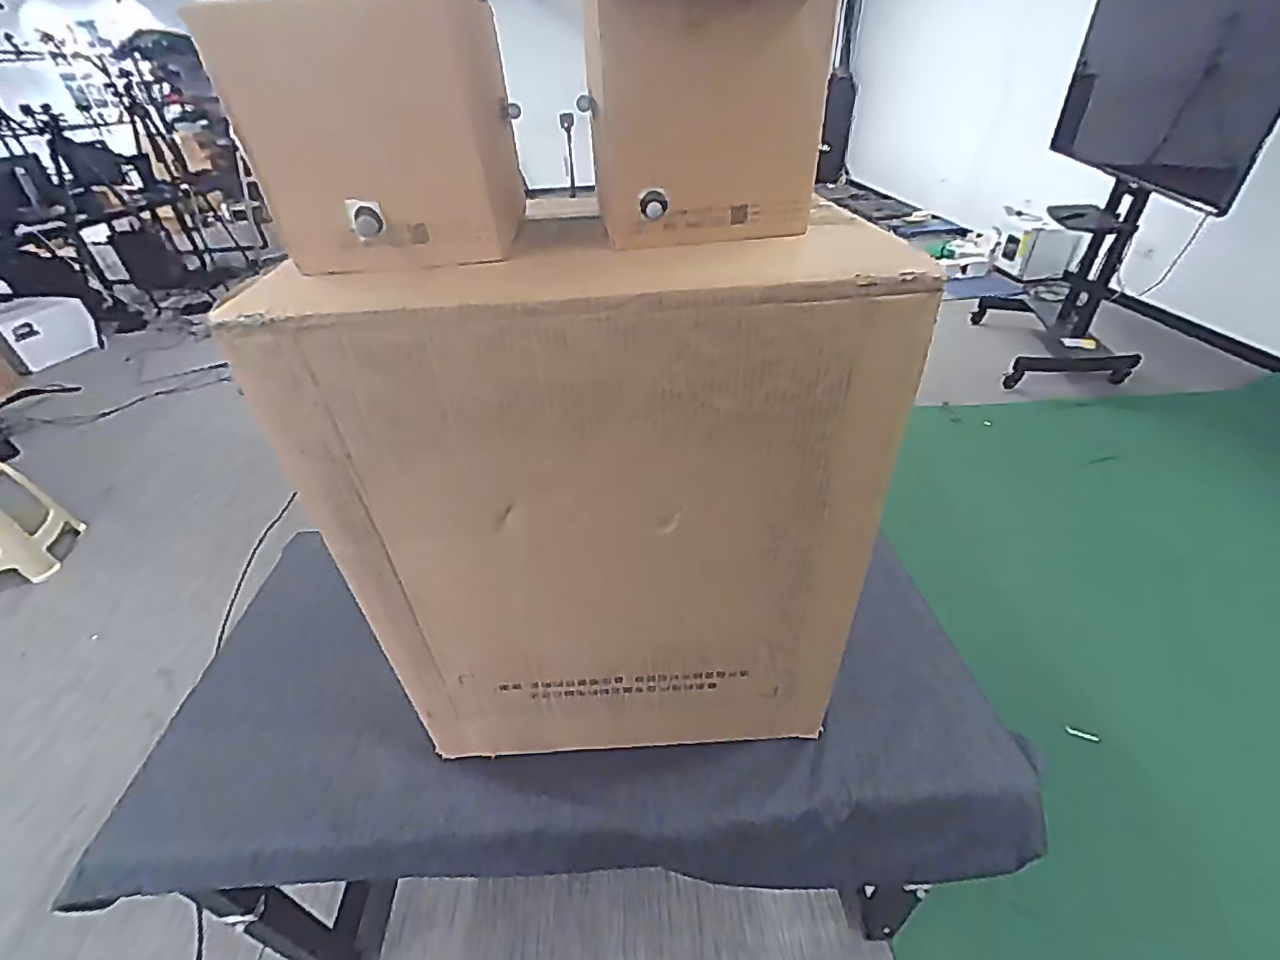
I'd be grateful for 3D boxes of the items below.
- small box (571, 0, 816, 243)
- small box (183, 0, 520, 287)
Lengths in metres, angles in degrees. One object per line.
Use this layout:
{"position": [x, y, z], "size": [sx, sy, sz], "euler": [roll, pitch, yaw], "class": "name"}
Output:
{"position": [0.036, -0.311, 0.464], "size": [0.168, 0.176, 0.179], "euler": [-8, 38, -5], "class": "small box"}
{"position": [-0.202, -0.275, 0.448], "size": [0.168, 0.176, 0.179], "euler": [-7, 40, 0], "class": "small box"}
